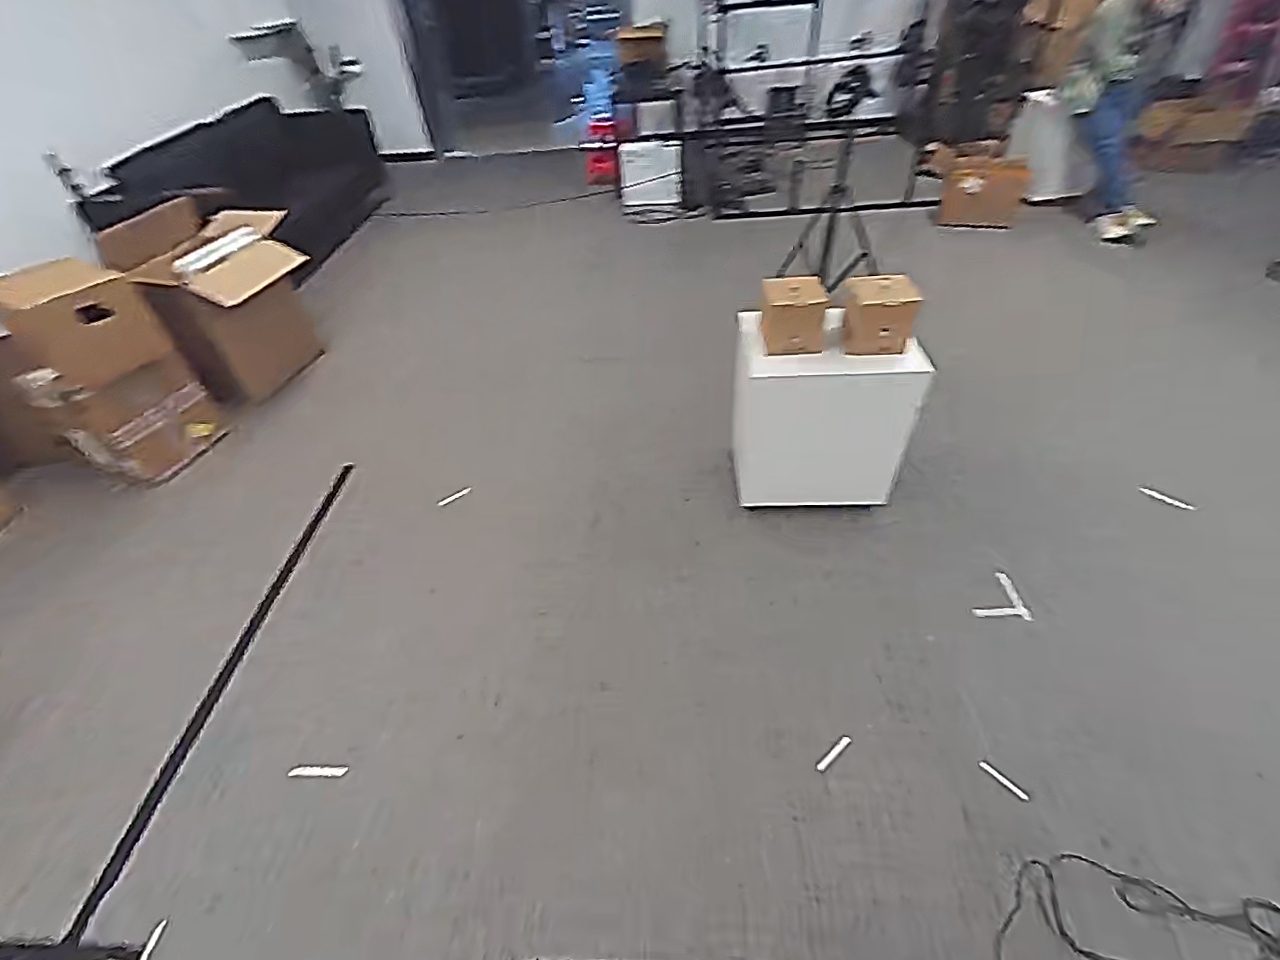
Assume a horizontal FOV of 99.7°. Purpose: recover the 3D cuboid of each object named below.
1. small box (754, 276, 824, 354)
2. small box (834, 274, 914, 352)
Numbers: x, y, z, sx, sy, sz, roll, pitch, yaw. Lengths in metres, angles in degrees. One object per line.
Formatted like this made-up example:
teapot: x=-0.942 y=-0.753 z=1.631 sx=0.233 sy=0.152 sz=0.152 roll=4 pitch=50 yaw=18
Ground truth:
small box: x=0.446 y=-0.503 z=1.652 sx=0.168 sy=0.176 sz=0.179 roll=-3 pitch=44 yaw=3
small box: x=0.694 y=-0.496 z=1.621 sx=0.168 sy=0.176 sz=0.179 roll=0 pitch=45 yaw=5
